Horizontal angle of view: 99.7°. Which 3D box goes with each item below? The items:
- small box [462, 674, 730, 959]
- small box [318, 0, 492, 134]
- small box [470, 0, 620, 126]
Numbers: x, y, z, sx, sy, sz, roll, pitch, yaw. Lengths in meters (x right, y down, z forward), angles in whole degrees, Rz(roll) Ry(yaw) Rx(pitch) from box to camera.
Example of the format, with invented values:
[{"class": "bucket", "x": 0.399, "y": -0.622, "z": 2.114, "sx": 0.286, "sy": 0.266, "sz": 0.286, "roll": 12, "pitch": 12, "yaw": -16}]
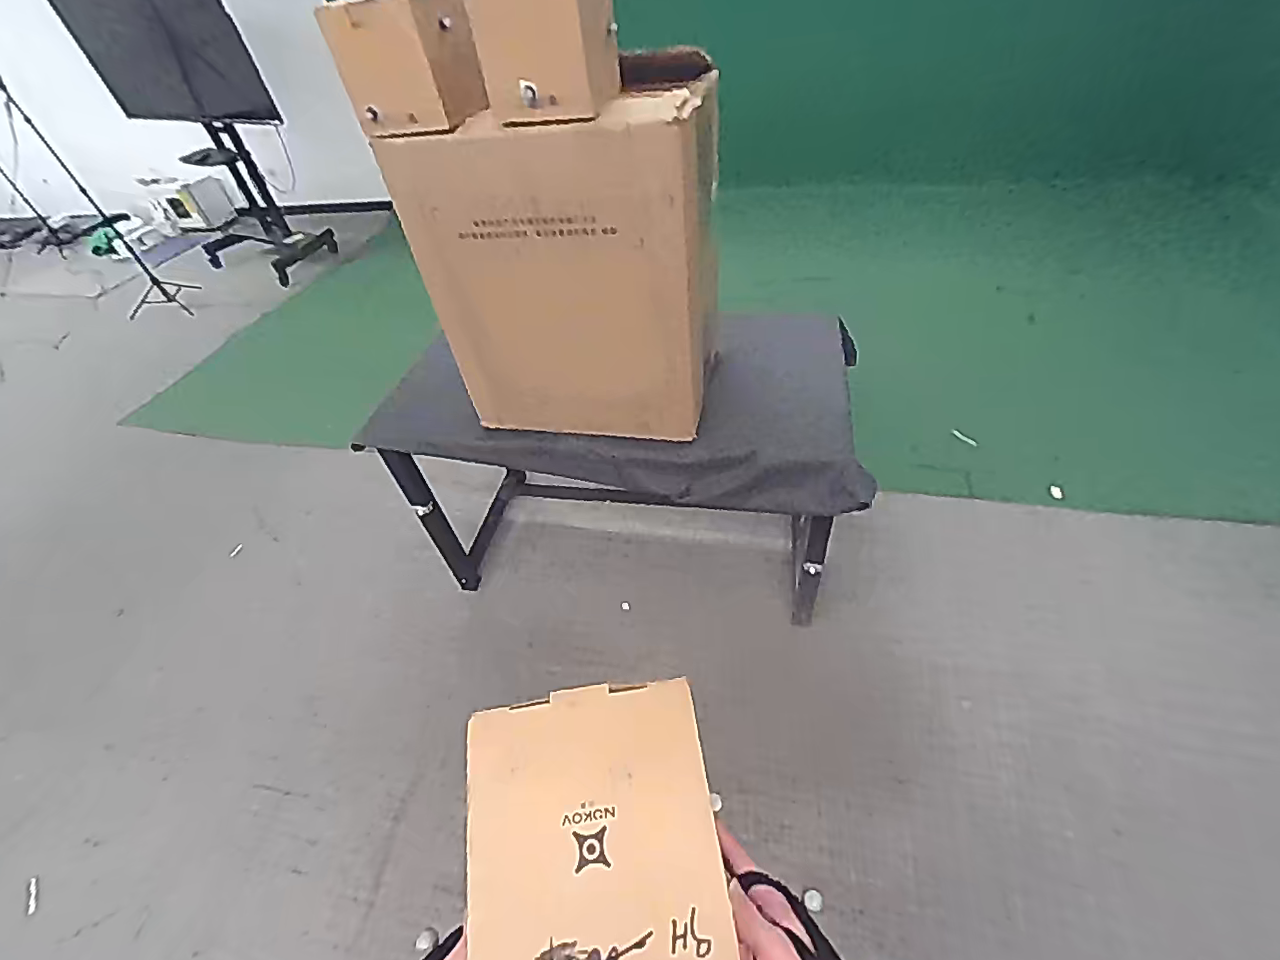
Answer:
[{"class": "small box", "x": -0.033, "y": 0.271, "z": 0.433, "sx": 0.168, "sy": 0.176, "sz": 0.179, "roll": -9, "pitch": 61, "yaw": -1}, {"class": "small box", "x": -0.367, "y": -0.682, "z": 0.886, "sx": 0.168, "sy": 0.176, "sz": 0.179, "roll": 5, "pitch": 47, "yaw": 16}, {"class": "small box", "x": -0.134, "y": -0.666, "z": 0.832, "sx": 0.168, "sy": 0.176, "sz": 0.179, "roll": 4, "pitch": 48, "yaw": 14}]
